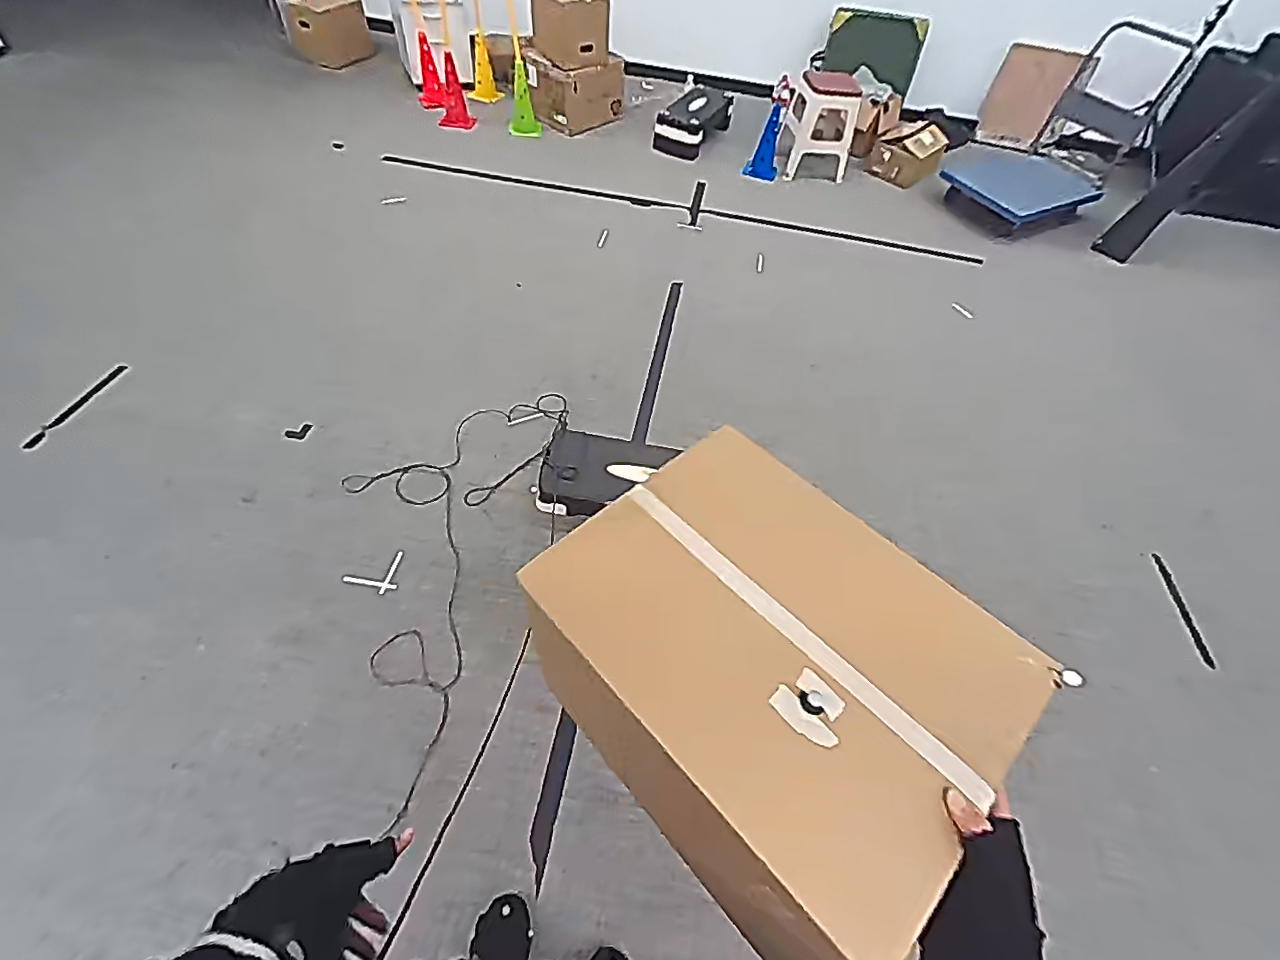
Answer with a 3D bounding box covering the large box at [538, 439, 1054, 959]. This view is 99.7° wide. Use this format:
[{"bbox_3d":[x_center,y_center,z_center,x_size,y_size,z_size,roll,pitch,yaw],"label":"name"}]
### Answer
[{"bbox_3d":[0.131,0.231,0.631,0.320,0.320,0.408,-34,60,-26],"label":"large box"}]
